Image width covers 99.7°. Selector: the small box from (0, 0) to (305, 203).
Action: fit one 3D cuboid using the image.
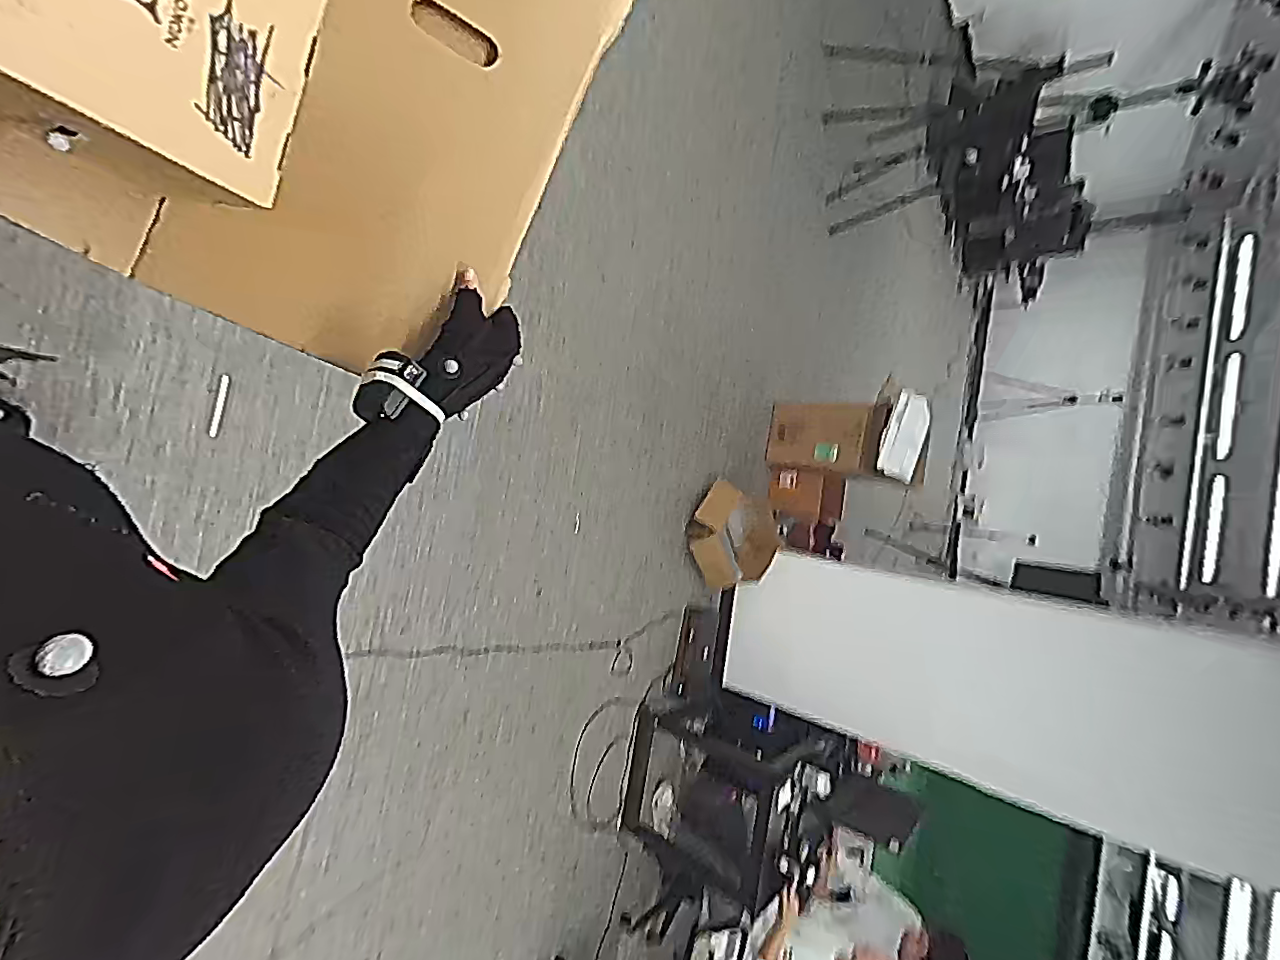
[{"bbox_3d":[-0.378,-0.318,0.365,0.179,0.176,0.168,10,97,-64],"label":"small box"}]
